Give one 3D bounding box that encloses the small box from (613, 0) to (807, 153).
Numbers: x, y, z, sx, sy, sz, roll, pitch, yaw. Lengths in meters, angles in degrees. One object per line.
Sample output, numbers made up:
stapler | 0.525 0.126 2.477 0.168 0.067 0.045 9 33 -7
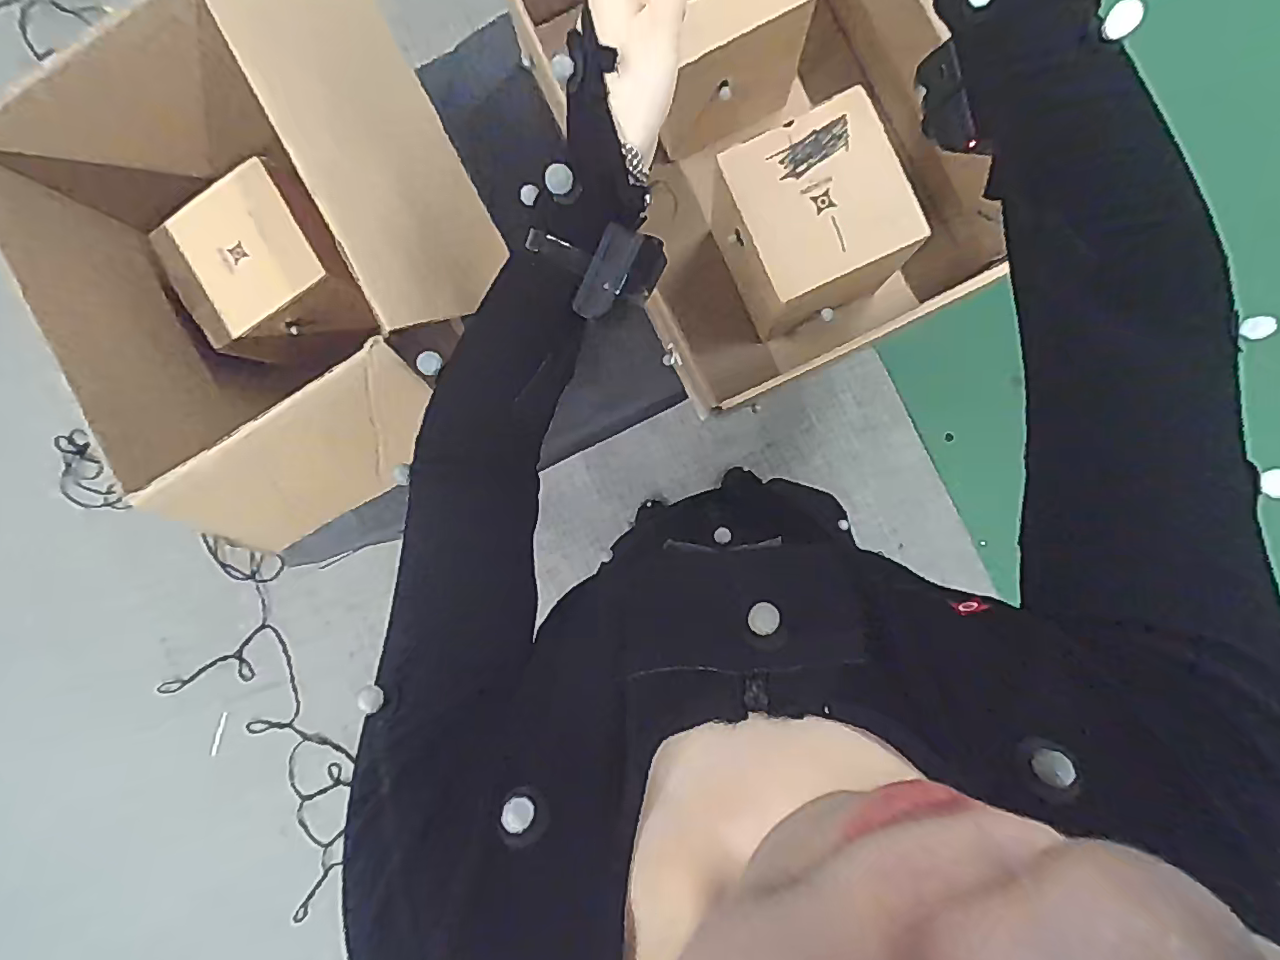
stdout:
small box | 0.075 -0.541 0.649 0.179 0.176 0.168 -25 90 6
